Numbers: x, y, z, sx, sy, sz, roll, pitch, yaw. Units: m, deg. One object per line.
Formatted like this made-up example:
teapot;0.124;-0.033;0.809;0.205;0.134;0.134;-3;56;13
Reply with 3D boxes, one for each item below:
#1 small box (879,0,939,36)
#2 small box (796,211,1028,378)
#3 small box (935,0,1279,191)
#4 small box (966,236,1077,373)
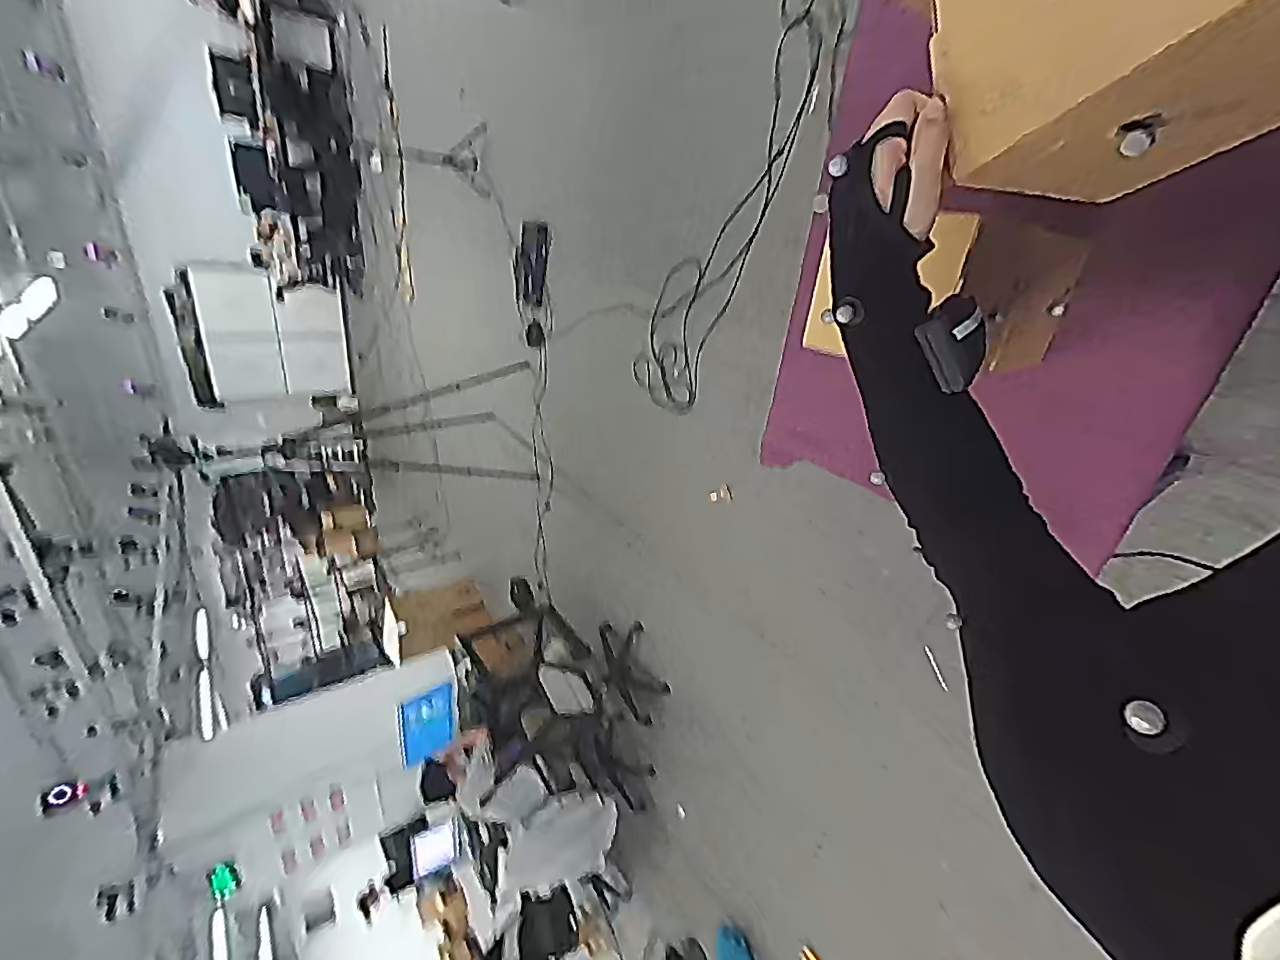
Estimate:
small box;0.371;-0.551;0.516;0.179;0.176;0.168;34;126;45
small box;0.331;-0.229;0.670;0.179;0.176;0.168;32;124;44
small box;0.306;-0.292;0.310;0.179;0.176;0.168;177;87;-69
small box;0.461;-0.256;0.763;0.179;0.176;0.168;34;127;43
